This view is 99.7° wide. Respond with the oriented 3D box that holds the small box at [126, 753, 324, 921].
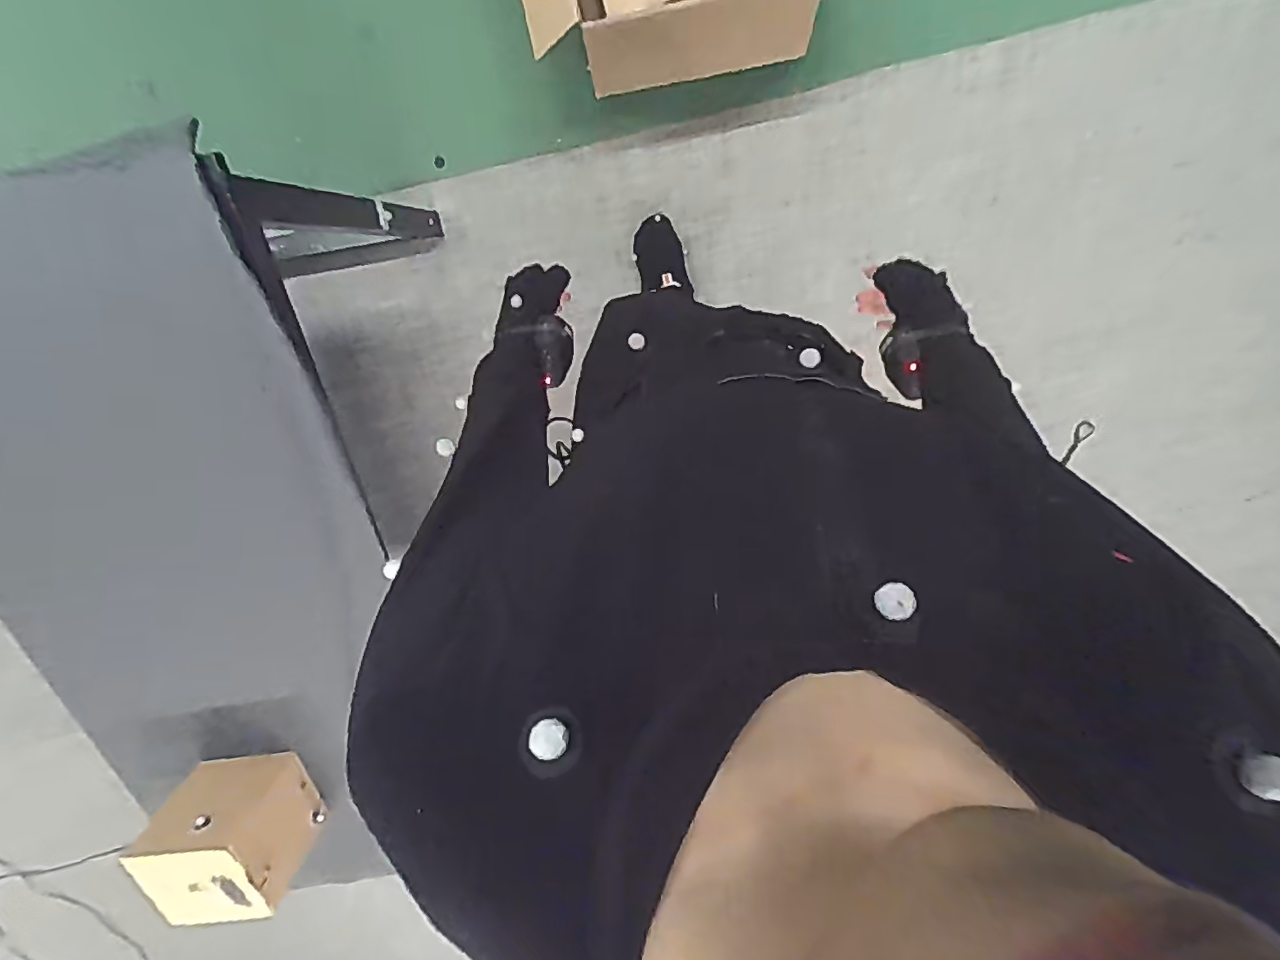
[{"bbox_3d":[-0.658,0.578,0.890,0.179,0.176,0.168,-8,112,4],"label":"small box"}]
